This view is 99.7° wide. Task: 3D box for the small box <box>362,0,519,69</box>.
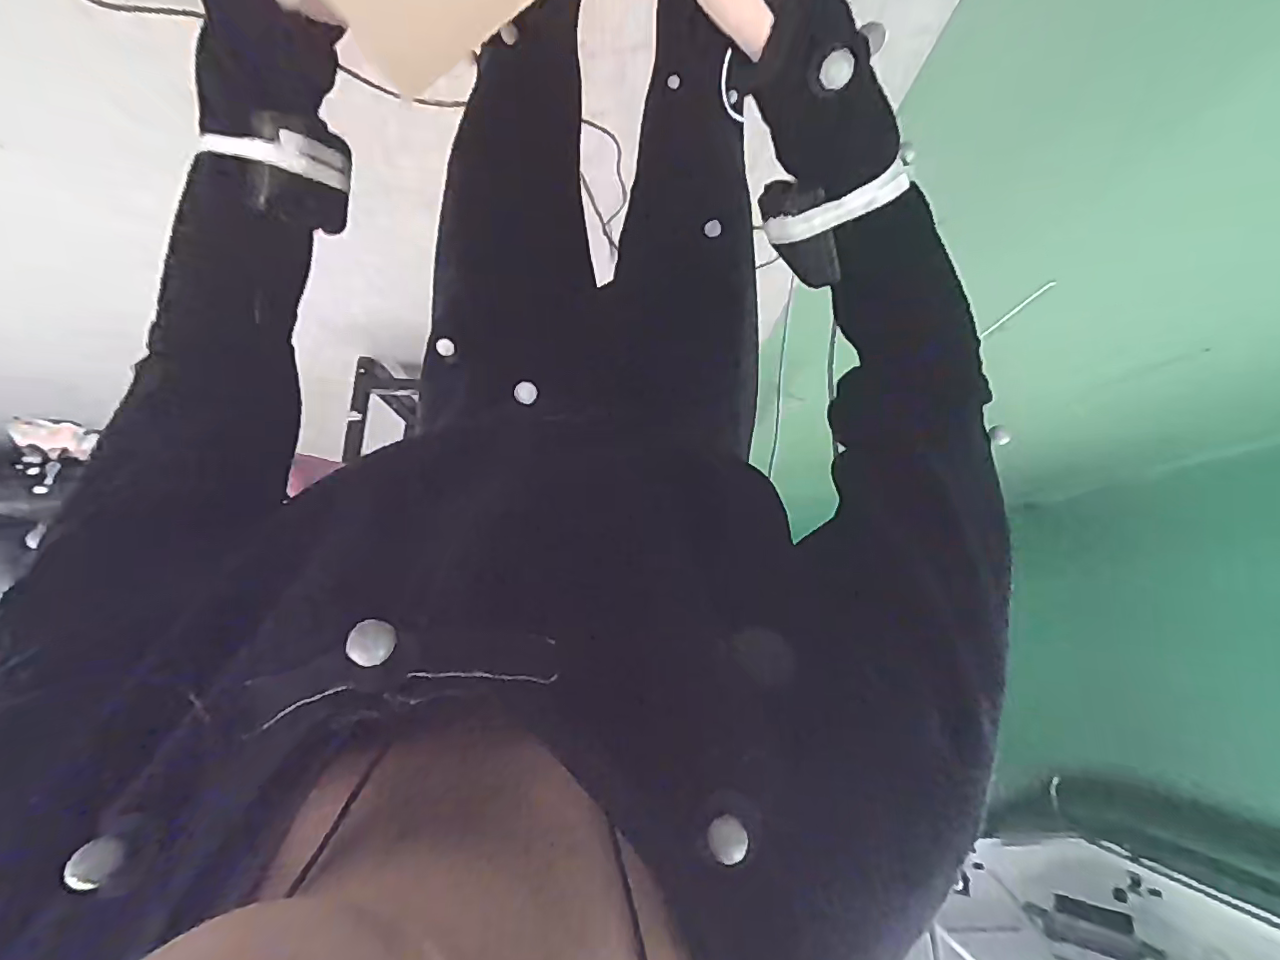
[{"bbox_3d":[-0.099,-0.321,0.200,0.168,0.176,0.179,-35,156,3],"label":"small box"}]
